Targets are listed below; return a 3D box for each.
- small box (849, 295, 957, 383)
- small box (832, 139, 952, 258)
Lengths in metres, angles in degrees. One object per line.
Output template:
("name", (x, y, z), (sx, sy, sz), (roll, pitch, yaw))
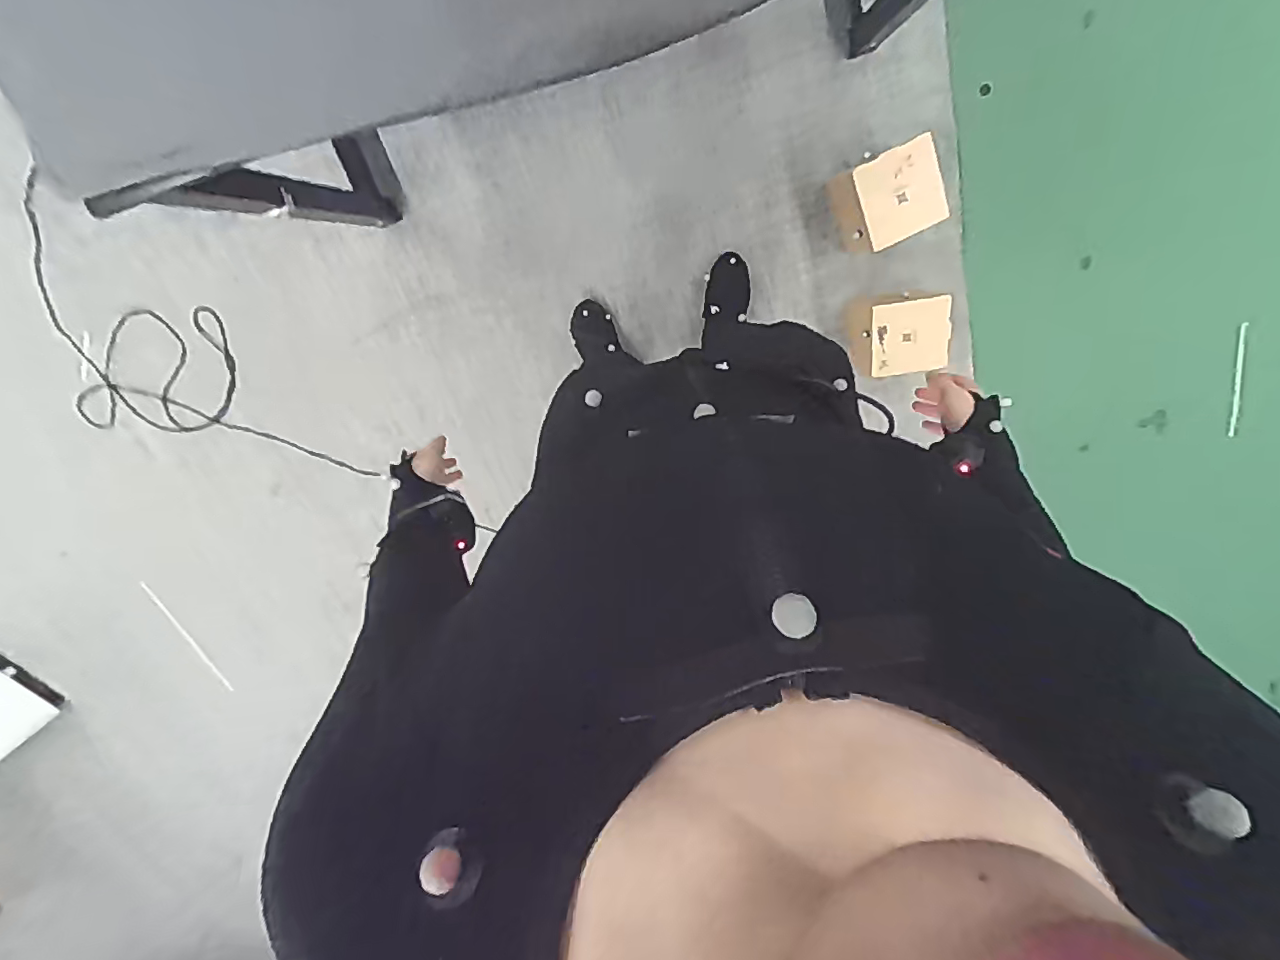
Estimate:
("small box", (0.621, -0.342, 1.296), (0.179, 0.176, 0.168), (-7, 113, 4))
("small box", (0.547, -0.609, 1.189), (0.168, 0.176, 0.179), (-23, 110, 9))
